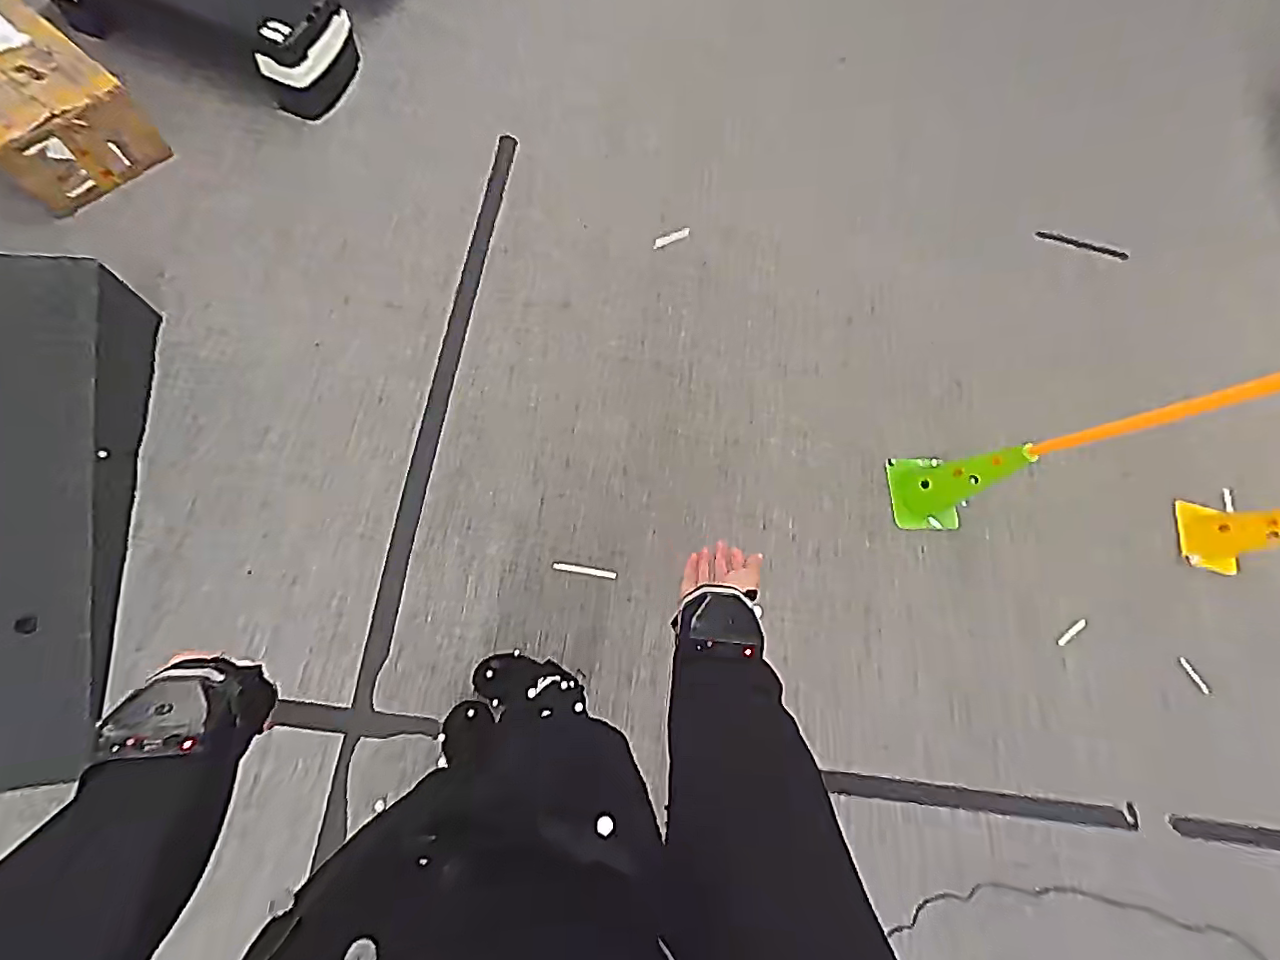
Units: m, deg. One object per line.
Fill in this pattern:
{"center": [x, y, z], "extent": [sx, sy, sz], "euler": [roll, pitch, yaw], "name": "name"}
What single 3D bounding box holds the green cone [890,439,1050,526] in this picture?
{"center": [0.833, -0.018, 1.344], "extent": [0.202, 0.368, 0.200], "euler": [1, 74, -13], "name": "green cone"}
